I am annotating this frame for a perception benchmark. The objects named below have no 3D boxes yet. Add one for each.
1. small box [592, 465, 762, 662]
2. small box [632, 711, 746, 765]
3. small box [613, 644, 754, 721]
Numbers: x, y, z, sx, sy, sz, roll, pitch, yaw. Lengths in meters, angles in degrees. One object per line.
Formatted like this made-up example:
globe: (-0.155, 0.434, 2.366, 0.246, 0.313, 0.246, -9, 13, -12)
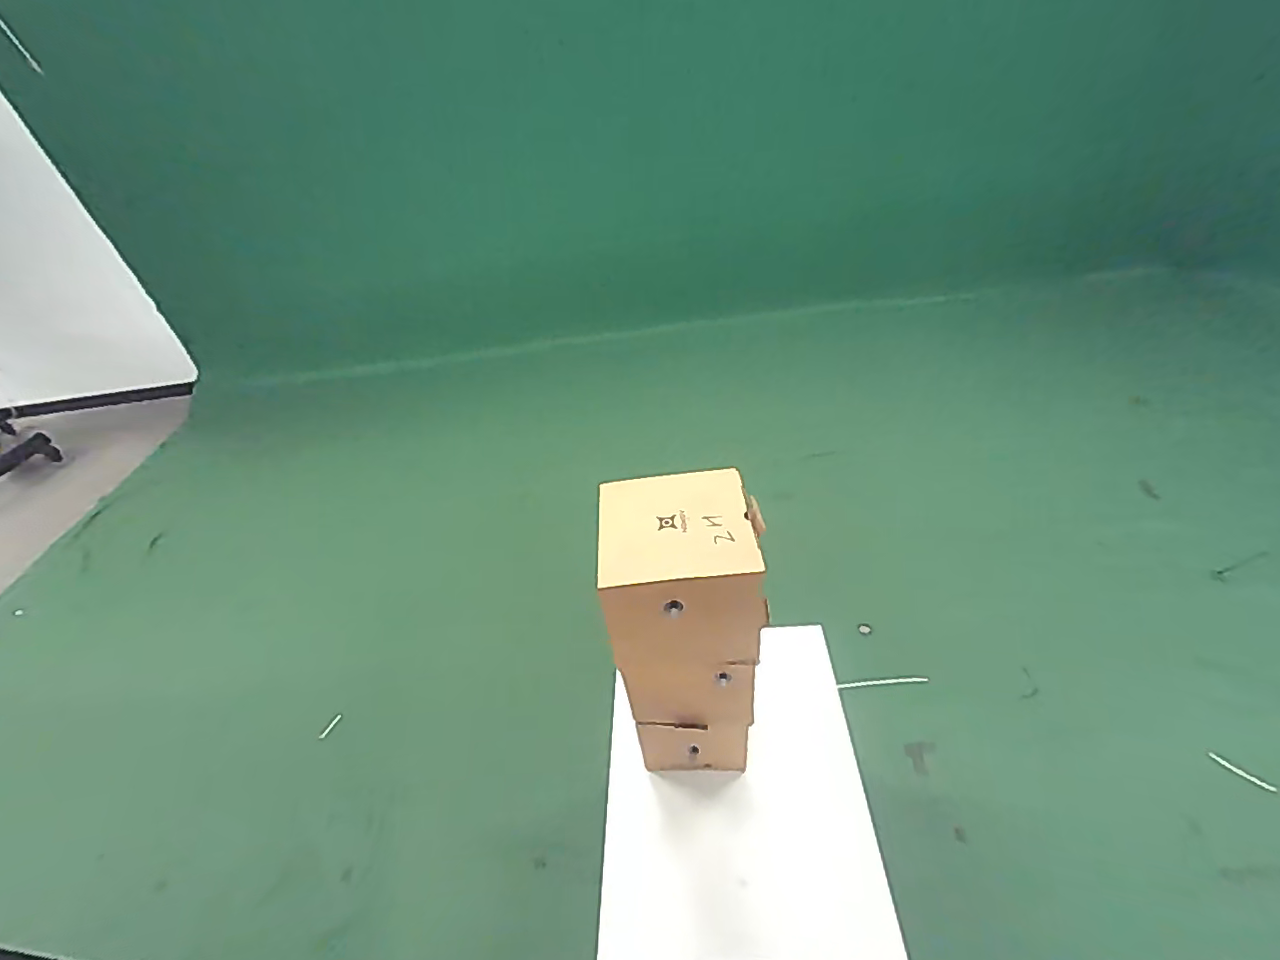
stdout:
small box: (0.044, 0.104, 0.655, 0.179, 0.176, 0.168, -6, 41, 2)
small box: (0.083, 0.343, 0.875, 0.168, 0.176, 0.179, -3, 42, 6)
small box: (0.068, 0.223, 0.766, 0.179, 0.176, 0.168, -1, 41, 8)
